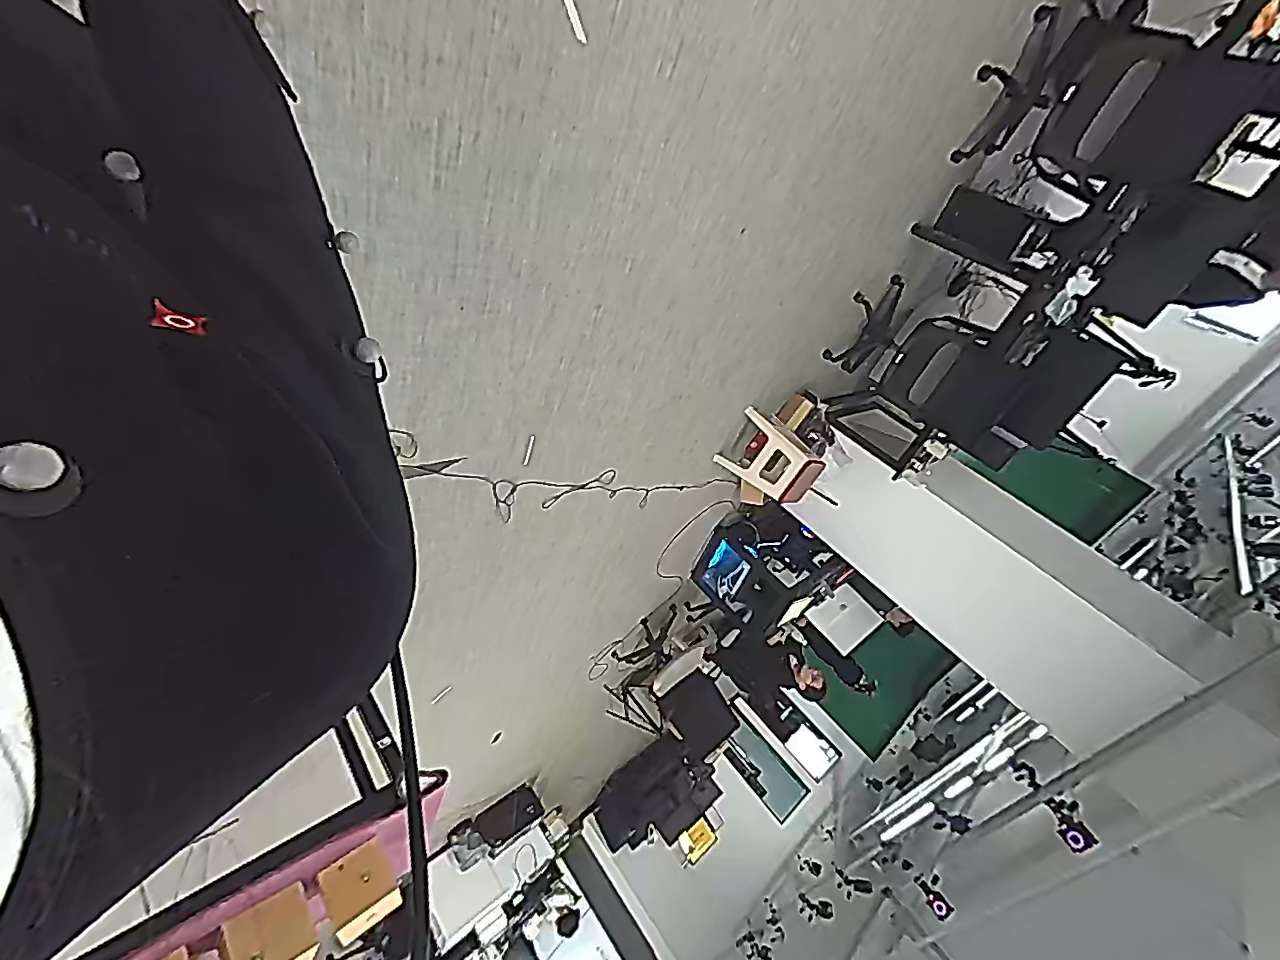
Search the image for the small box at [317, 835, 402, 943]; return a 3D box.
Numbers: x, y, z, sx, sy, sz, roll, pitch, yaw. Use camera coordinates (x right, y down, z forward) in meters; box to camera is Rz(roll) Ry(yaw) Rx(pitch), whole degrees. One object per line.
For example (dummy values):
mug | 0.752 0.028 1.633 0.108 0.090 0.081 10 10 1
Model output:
small box | -0.810 1.175 1.564 0.168 0.176 0.179 -22 143 -37
